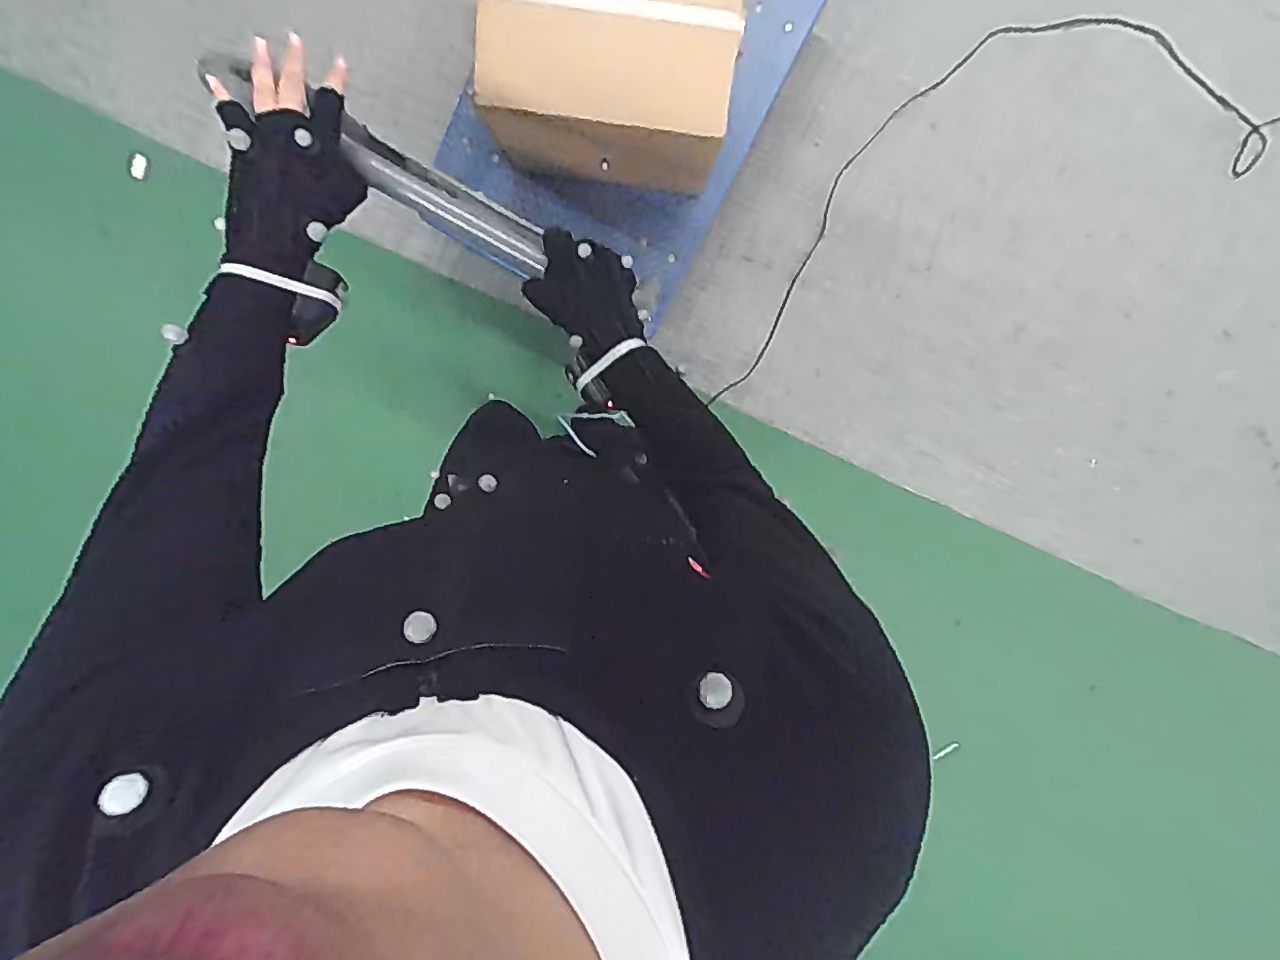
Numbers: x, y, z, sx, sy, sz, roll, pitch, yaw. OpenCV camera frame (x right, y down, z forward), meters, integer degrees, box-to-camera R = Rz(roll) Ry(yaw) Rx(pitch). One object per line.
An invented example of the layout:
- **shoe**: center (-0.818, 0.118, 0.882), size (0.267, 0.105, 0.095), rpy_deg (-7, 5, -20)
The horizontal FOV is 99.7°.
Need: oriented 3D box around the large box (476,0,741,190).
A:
- **large box**: center (-0.046, -0.749, 0.972), size (0.408, 0.320, 0.320), rpy_deg (7, 102, -2)
